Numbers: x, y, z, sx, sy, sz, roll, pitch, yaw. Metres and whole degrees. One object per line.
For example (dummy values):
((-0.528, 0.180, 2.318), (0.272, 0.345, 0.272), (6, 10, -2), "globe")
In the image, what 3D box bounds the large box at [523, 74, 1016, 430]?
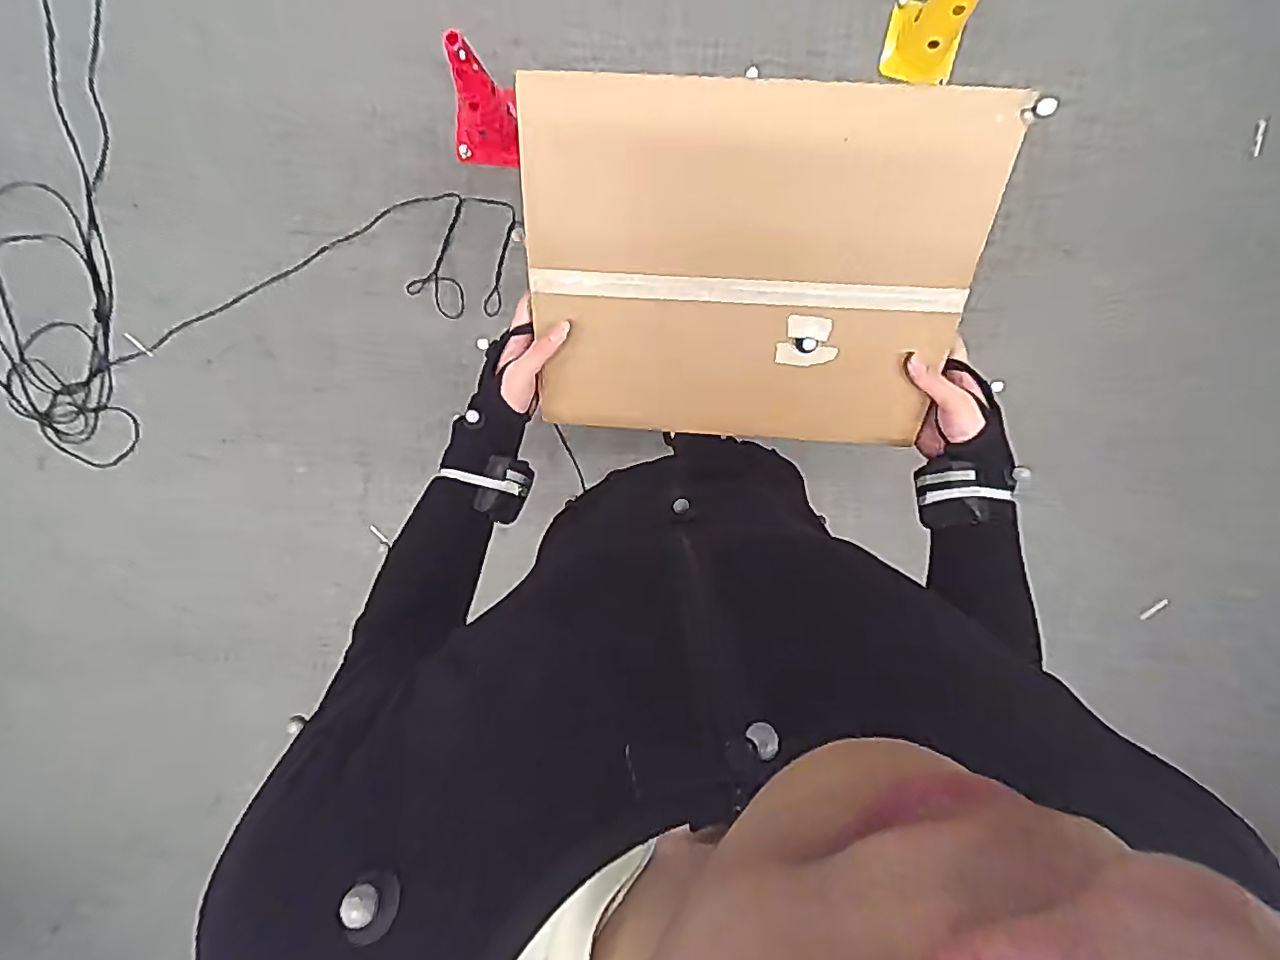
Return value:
((0.105, -0.268, 0.639), (0.408, 0.320, 0.320), (3, 123, 1), "large box")
